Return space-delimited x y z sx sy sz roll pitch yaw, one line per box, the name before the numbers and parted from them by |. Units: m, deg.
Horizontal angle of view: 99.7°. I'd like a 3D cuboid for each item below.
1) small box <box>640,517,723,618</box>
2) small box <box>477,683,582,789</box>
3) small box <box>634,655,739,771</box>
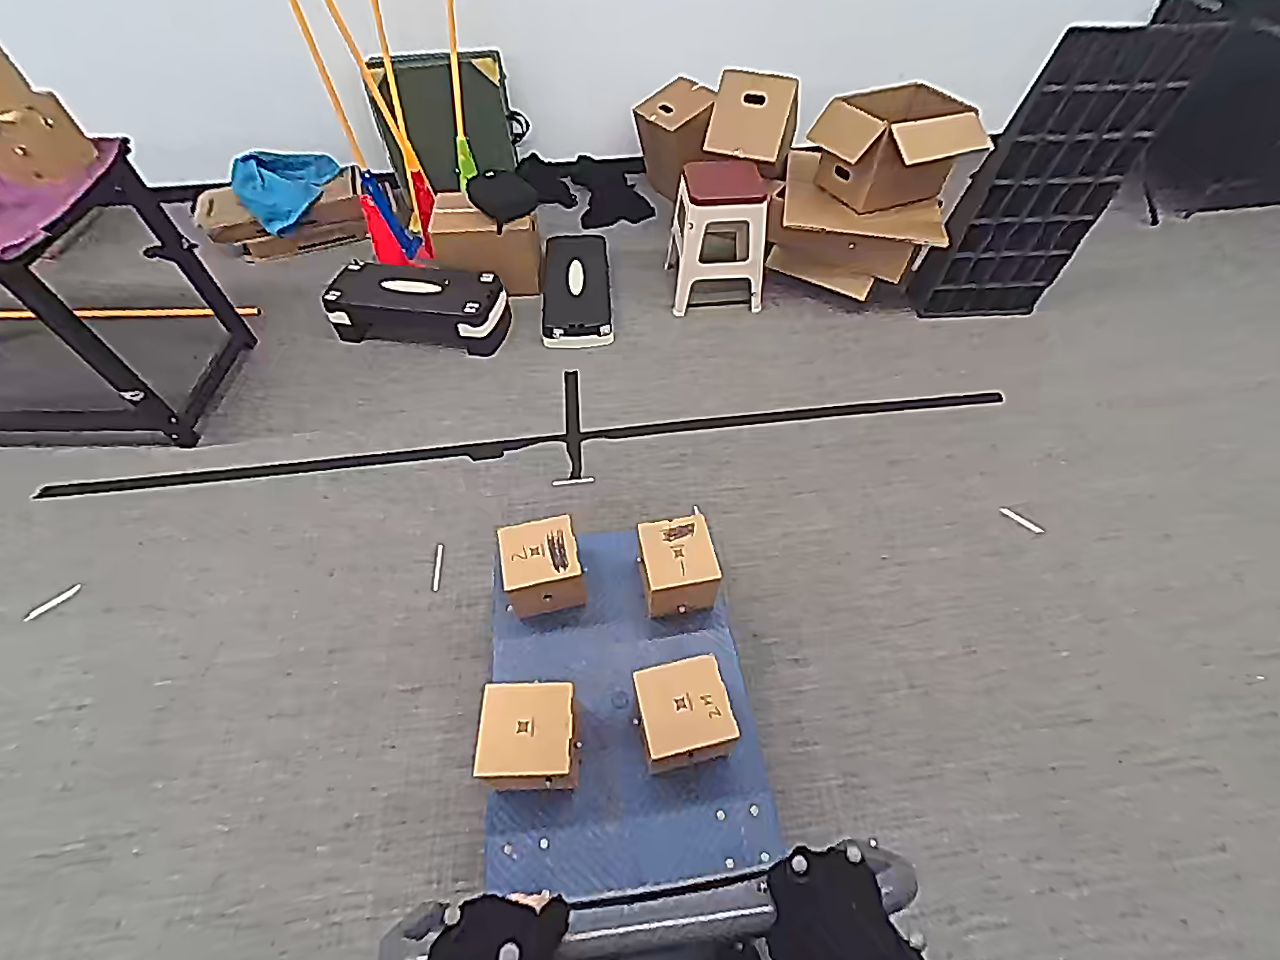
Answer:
small box | 0.092 0.215 1.321 0.168 0.176 0.179 -9 55 -6
small box | -0.213 0.522 1.096 0.179 0.176 0.168 0 53 -2
small box | 0.090 0.487 1.121 0.179 0.176 0.168 -11 55 -8
